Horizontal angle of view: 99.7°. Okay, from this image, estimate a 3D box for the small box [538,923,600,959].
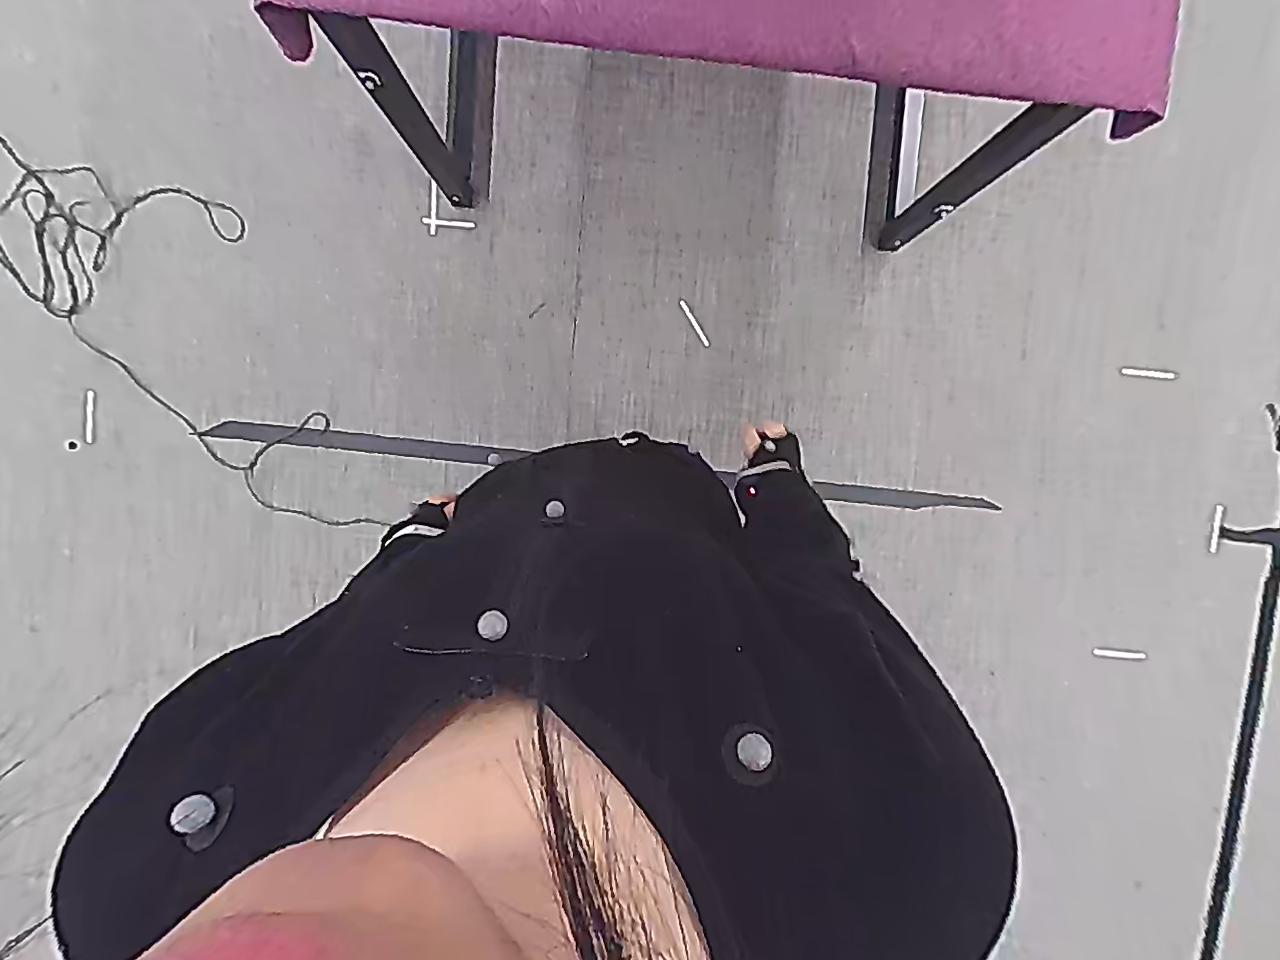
[{"bbox_3d":[-0.200,1.381,1.505,0.168,0.176,0.179,1,94,-1],"label":"small box"}]
